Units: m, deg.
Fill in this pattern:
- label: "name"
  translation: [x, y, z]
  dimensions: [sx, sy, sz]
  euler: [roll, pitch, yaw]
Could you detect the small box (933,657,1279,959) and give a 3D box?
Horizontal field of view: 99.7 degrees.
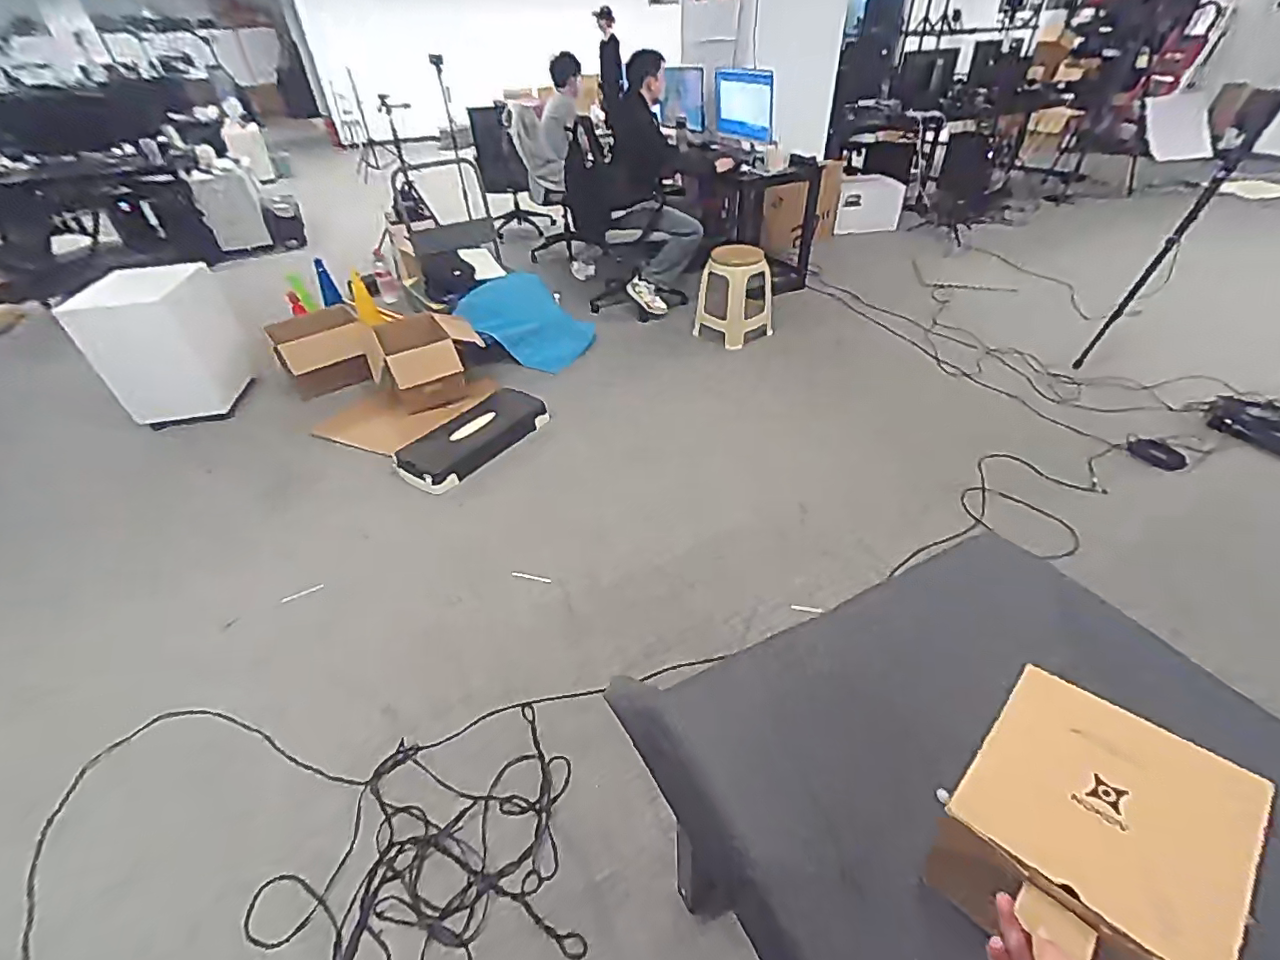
- label: "small box"
  translation: [0.374, 0.299, 0.461]
  dimensions: [0.179, 0.176, 0.168]
  euler: [-36, 43, -29]
